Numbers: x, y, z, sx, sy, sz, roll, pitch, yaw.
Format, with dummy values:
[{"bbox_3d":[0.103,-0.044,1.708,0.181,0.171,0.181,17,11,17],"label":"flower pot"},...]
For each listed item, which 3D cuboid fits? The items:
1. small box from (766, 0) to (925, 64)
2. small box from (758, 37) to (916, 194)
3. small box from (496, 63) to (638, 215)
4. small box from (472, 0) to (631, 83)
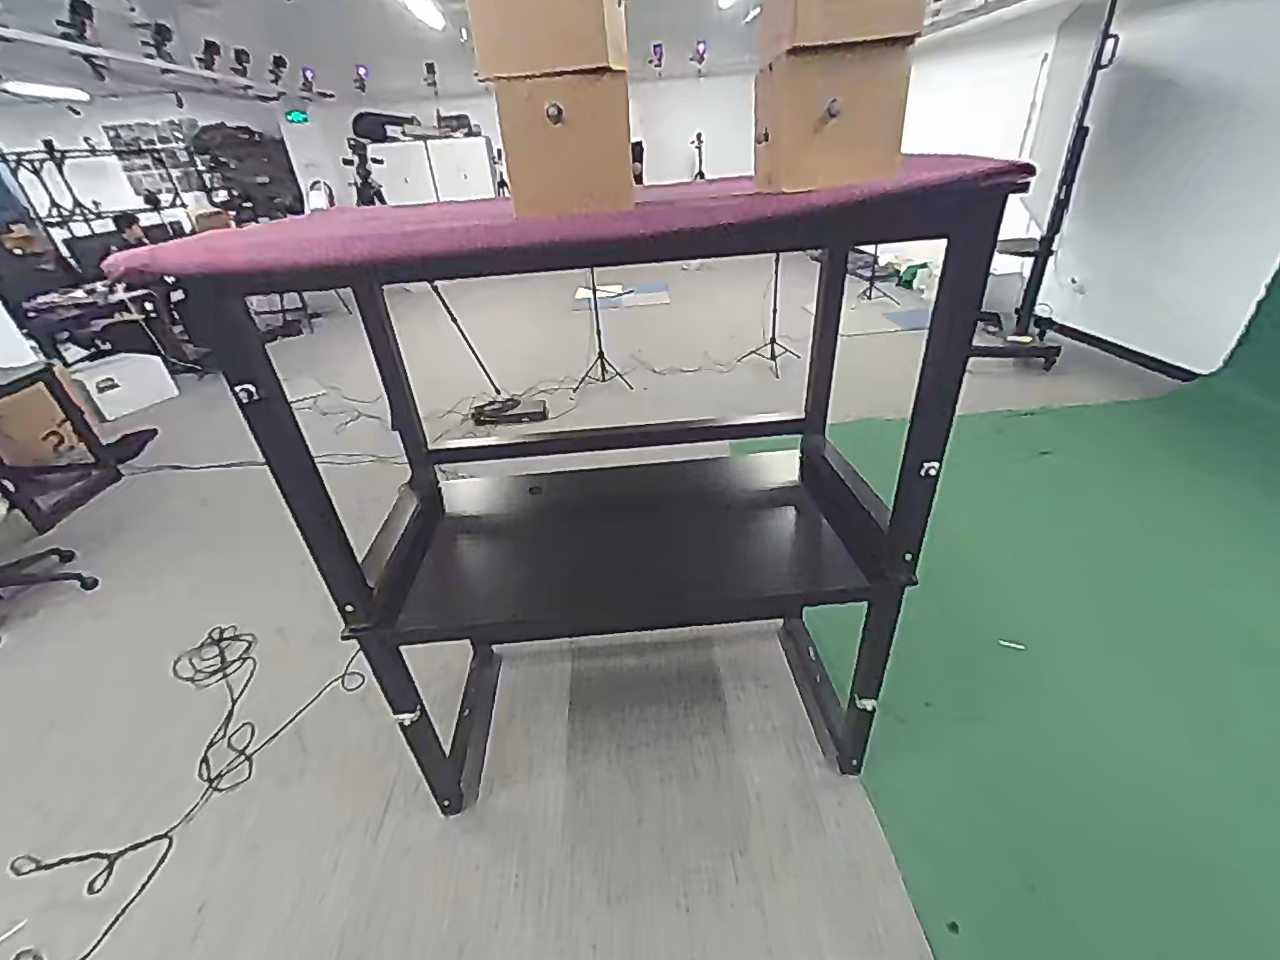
[{"bbox_3d":[0.269,-0.666,0.720,0.179,0.176,0.168,-5,29,0],"label":"small box"},{"bbox_3d":[0.281,-0.531,0.811,0.179,0.176,0.168,-6,30,0],"label":"small box"},{"bbox_3d":[-0.096,-0.494,0.798,0.179,0.176,0.168,-3,32,0],"label":"small box"},{"bbox_3d":[-0.111,-0.631,0.712,0.179,0.176,0.168,0,31,9],"label":"small box"}]
